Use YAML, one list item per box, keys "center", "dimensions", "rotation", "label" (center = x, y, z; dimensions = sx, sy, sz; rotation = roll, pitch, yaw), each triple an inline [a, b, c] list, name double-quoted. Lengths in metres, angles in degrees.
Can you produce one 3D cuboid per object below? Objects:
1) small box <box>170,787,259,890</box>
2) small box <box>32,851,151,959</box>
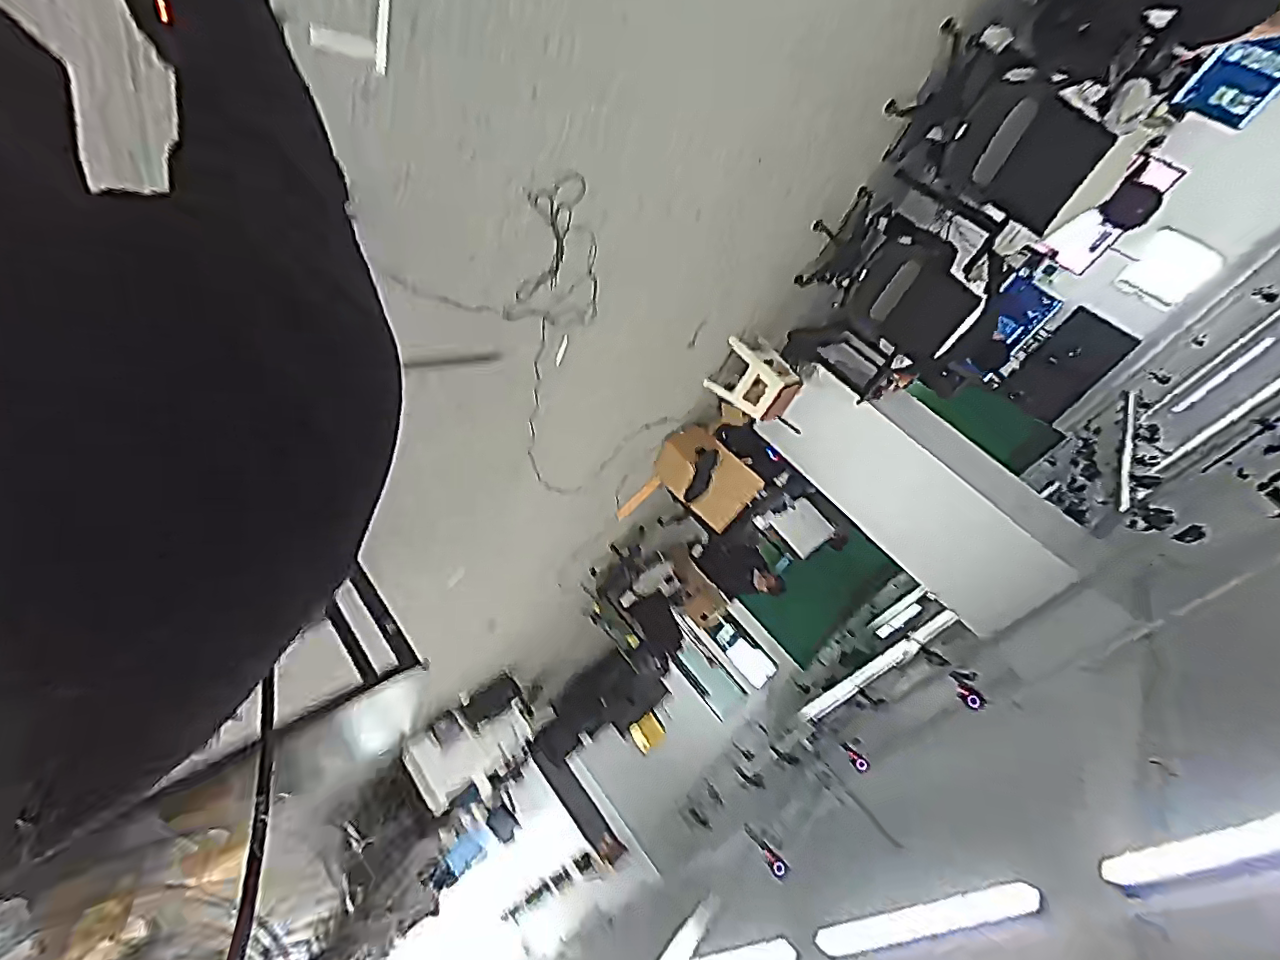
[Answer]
- center: [-1.245, 1.042, 1.585]
  dimensions: [0.168, 0.176, 0.179]
  rotation: [-20, 150, -46]
  label: "small box"
- center: [-1.420, 1.115, 1.405]
  dimensions: [0.179, 0.176, 0.168]
  rotation: [-20, 150, -46]
  label: "small box"
